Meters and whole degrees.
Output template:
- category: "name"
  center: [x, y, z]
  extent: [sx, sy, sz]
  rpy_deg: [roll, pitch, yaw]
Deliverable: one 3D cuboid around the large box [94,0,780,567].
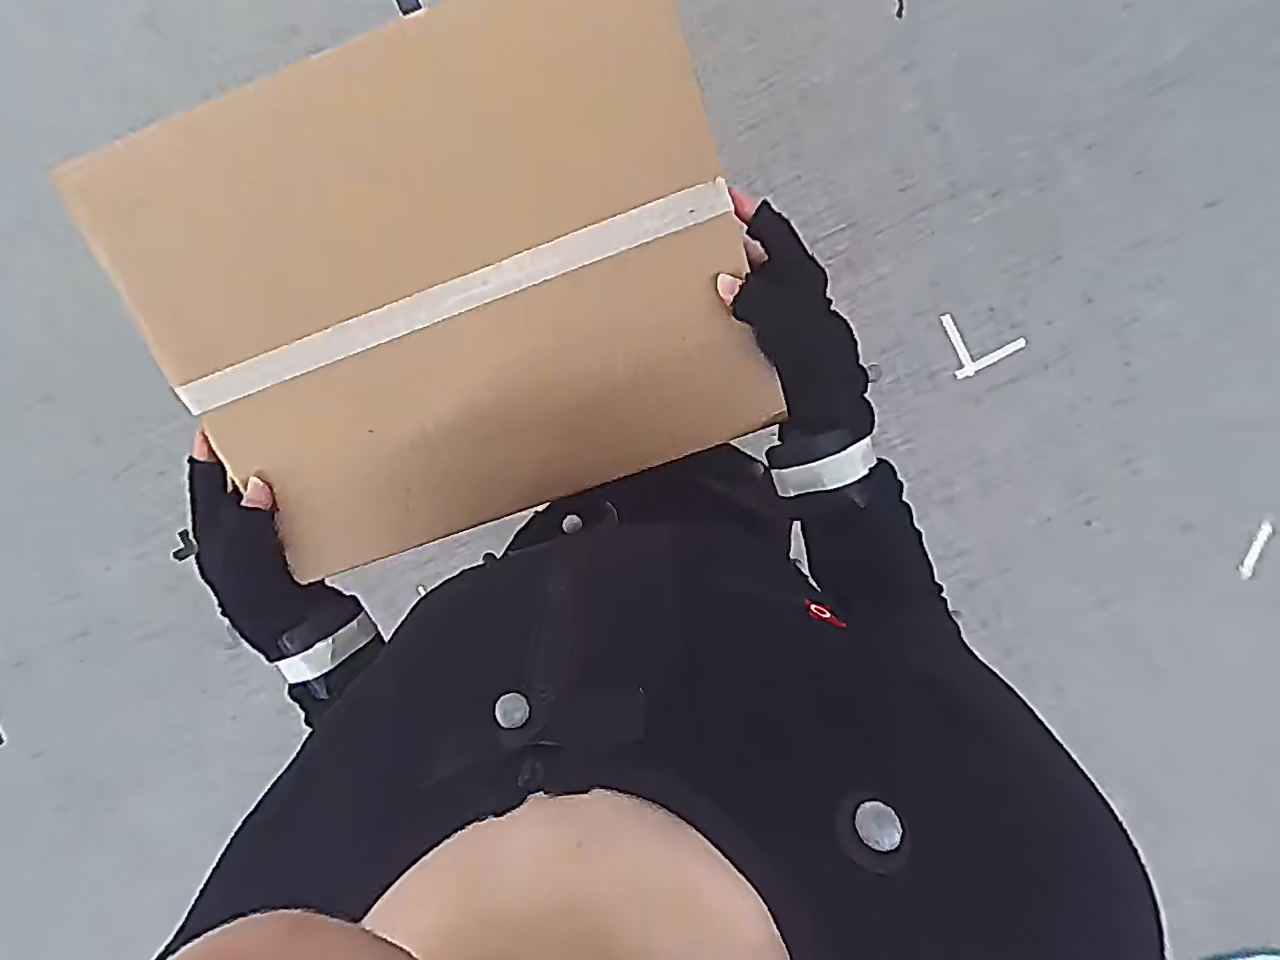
- category: "large box"
  center: [-0.132, -0.170, 0.523]
  extent: [0.408, 0.320, 0.320]
  rpy_deg: [-19, 107, 5]
